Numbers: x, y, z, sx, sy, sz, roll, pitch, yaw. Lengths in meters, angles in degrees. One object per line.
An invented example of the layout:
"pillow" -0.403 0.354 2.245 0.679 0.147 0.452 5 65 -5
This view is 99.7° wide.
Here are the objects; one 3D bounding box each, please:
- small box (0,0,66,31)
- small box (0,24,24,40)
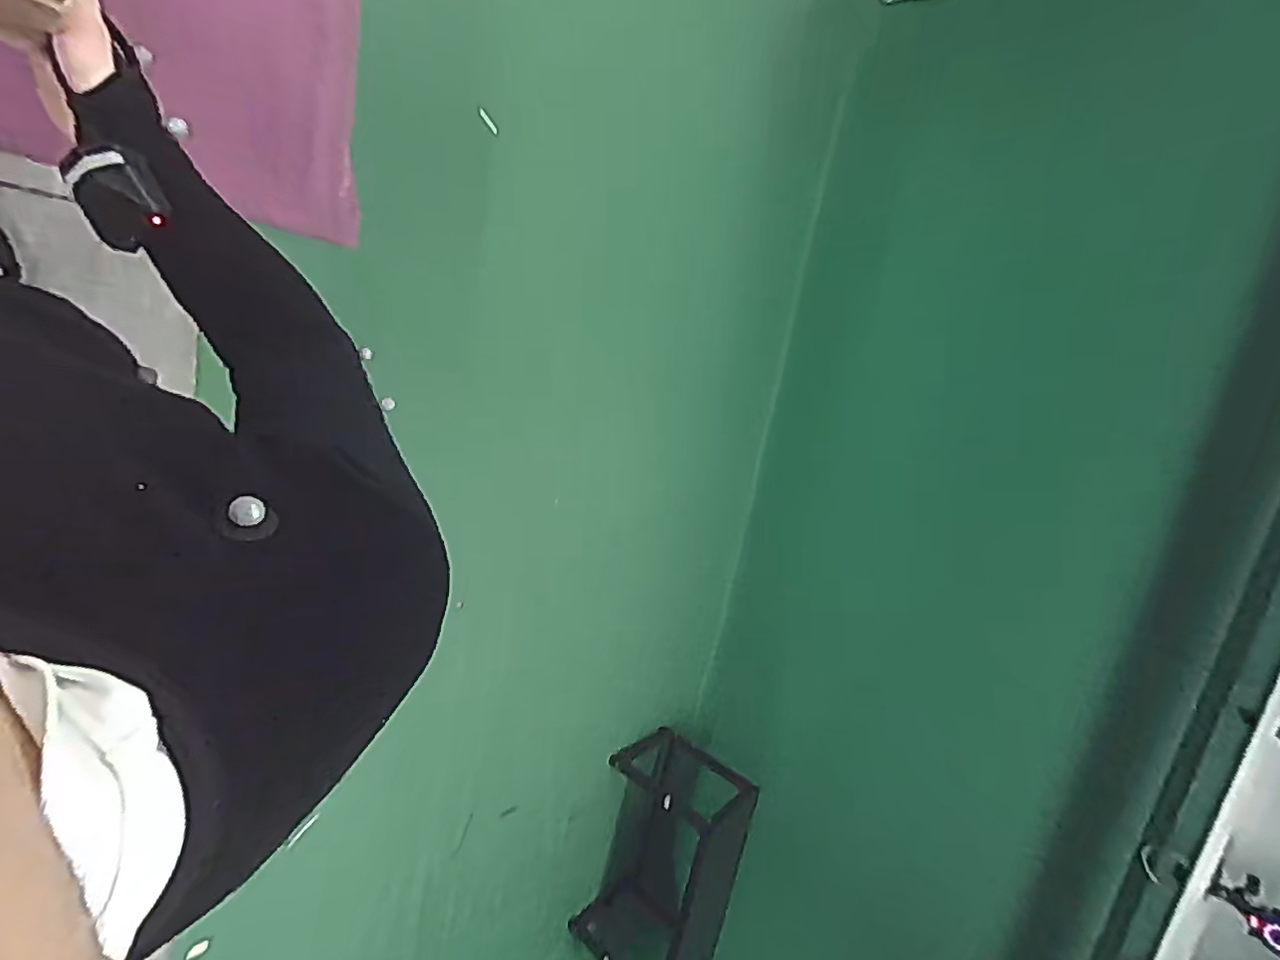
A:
"small box" -0.451 -0.408 0.310 0.168 0.176 0.179 0 109 -54
"small box" -0.576 -0.471 0.399 0.168 0.176 0.179 -4 113 -52
